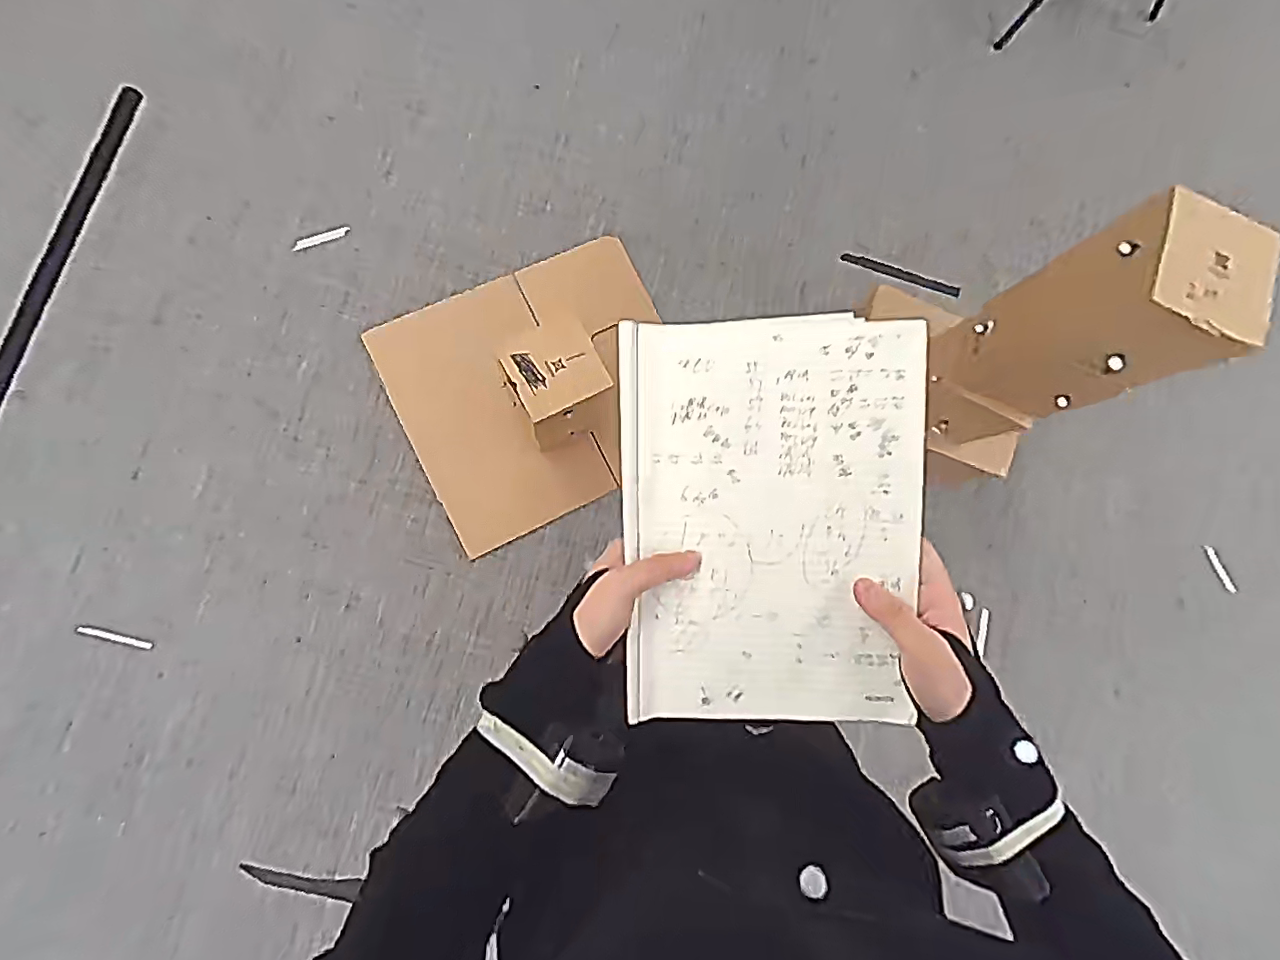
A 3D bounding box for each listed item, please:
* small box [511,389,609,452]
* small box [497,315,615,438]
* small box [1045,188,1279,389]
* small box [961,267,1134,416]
[{"bbox_3d":[-0.193,-0.183,1.266,0.179,0.176,0.168,-29,88,-11],"label":"small box"},{"bbox_3d":[-0.170,-0.201,1.104,0.179,0.176,0.168,-28,89,-11],"label":"small box"},{"bbox_3d":[0.717,-0.253,0.757,0.168,0.176,0.179,22,81,-4],"label":"small box"},{"bbox_3d":[0.694,-0.222,0.917,0.179,0.176,0.168,19,81,-4],"label":"small box"}]
